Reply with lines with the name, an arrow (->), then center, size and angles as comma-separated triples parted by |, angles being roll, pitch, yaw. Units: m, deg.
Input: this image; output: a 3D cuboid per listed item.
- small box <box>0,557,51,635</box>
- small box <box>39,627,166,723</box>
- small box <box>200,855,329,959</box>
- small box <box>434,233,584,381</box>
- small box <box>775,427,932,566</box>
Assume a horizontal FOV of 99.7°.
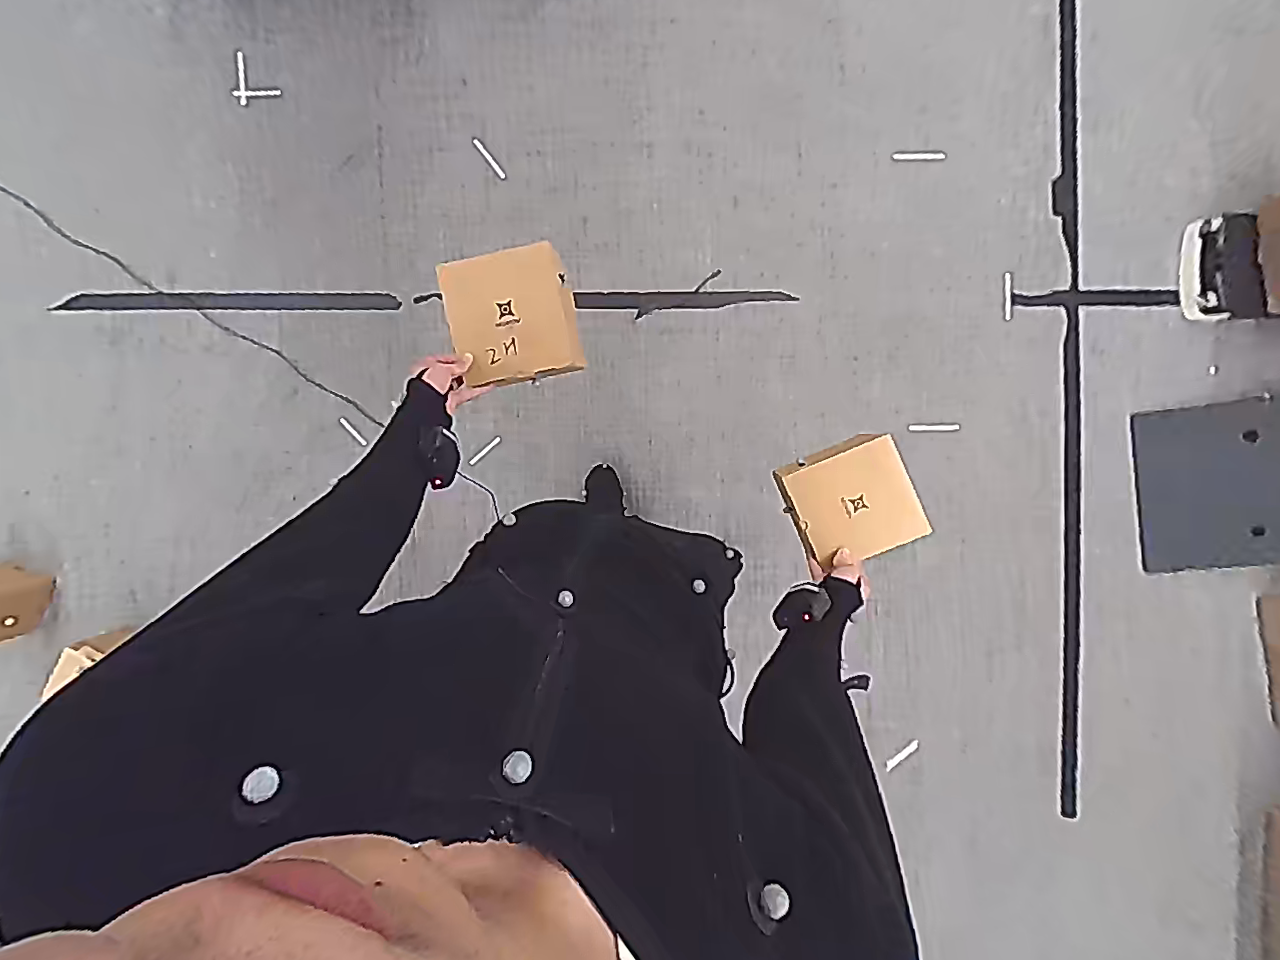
small box -> -1.867, 0.341, 1.548 | 0.168, 0.176, 0.179 | 23, 93, -1
small box -> -1.532, 0.551, 1.557 | 0.168, 0.176, 0.179 | 30, 92, -1
small box -> -0.794, 0.954, 1.155 | 0.168, 0.176, 0.179 | 8, 95, -2
small box -> -0.190, -0.254, 0.834 | 0.168, 0.176, 0.179 | -11, 100, 3
small box -> 0.338, 0.019, 0.894 | 0.179, 0.176, 0.168 | -24, 90, 11
